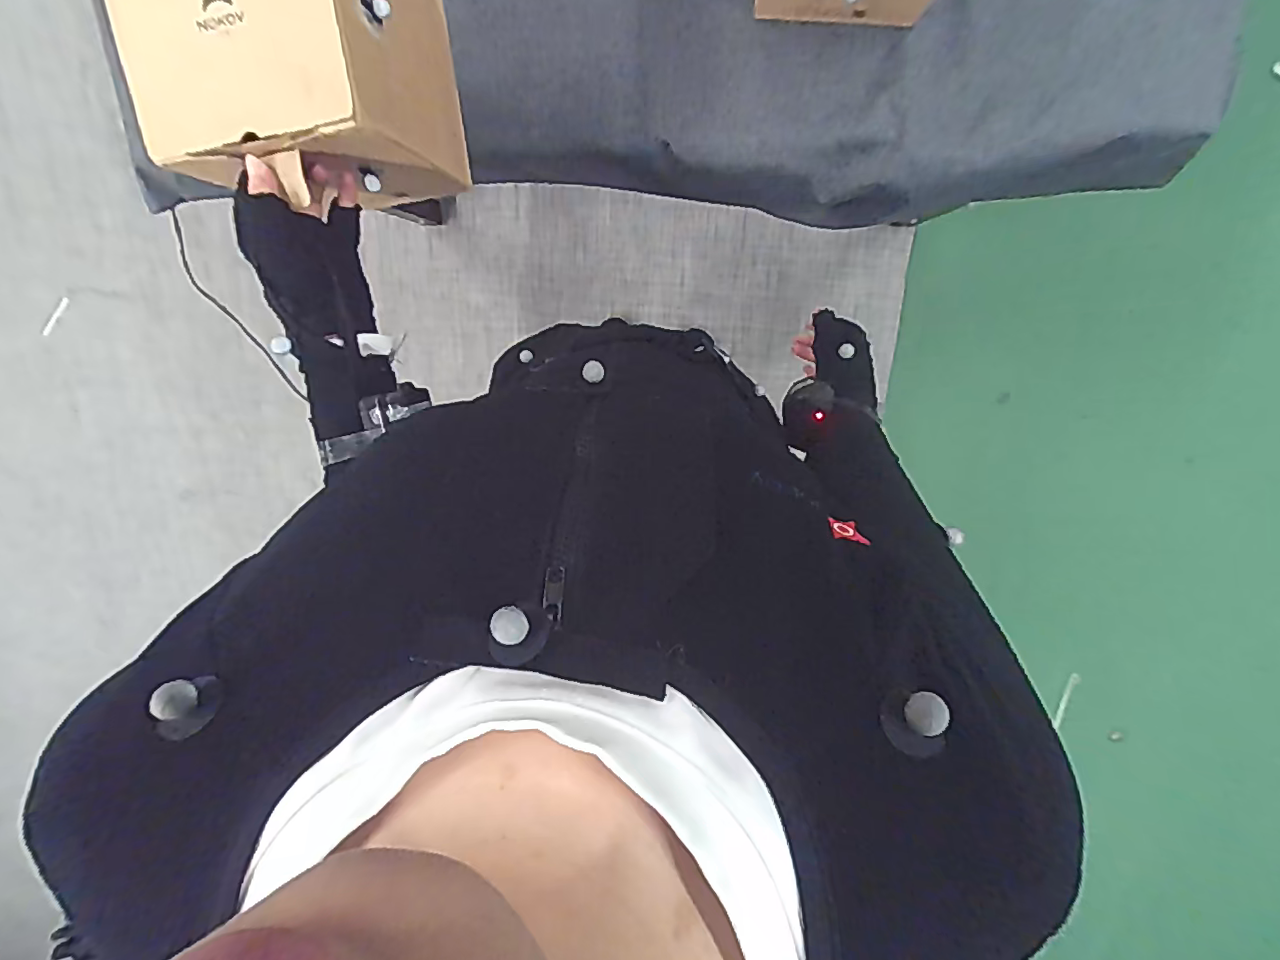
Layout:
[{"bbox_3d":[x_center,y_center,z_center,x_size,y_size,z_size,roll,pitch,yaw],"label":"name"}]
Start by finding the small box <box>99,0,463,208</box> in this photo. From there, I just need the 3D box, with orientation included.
[{"bbox_3d":[-0.257,-0.326,0.418,0.168,0.176,0.179,-4,102,10],"label":"small box"}]
